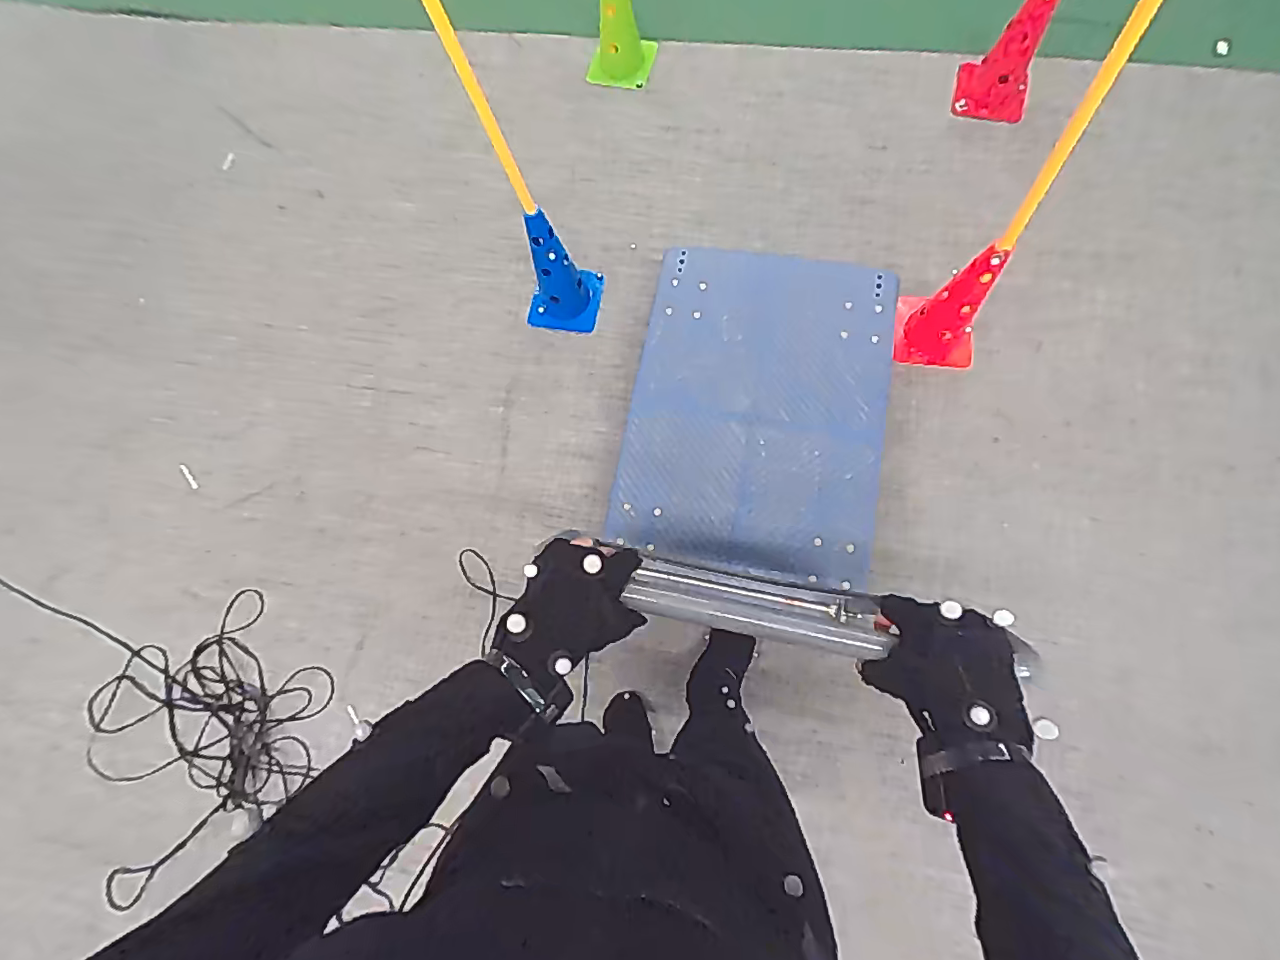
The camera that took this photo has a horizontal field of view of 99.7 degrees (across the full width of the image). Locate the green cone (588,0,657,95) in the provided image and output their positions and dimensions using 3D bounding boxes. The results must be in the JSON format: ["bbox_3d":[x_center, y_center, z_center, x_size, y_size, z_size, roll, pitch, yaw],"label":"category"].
[{"bbox_3d":[-0.074,-1.398,1.615,0.202,0.368,0.200,13,76,9],"label":"green cone"}]

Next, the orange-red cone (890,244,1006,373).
[{"bbox_3d":[0.759,-0.428,1.291,0.199,0.360,0.198,8,76,9],"label":"orange-red cone"}]
